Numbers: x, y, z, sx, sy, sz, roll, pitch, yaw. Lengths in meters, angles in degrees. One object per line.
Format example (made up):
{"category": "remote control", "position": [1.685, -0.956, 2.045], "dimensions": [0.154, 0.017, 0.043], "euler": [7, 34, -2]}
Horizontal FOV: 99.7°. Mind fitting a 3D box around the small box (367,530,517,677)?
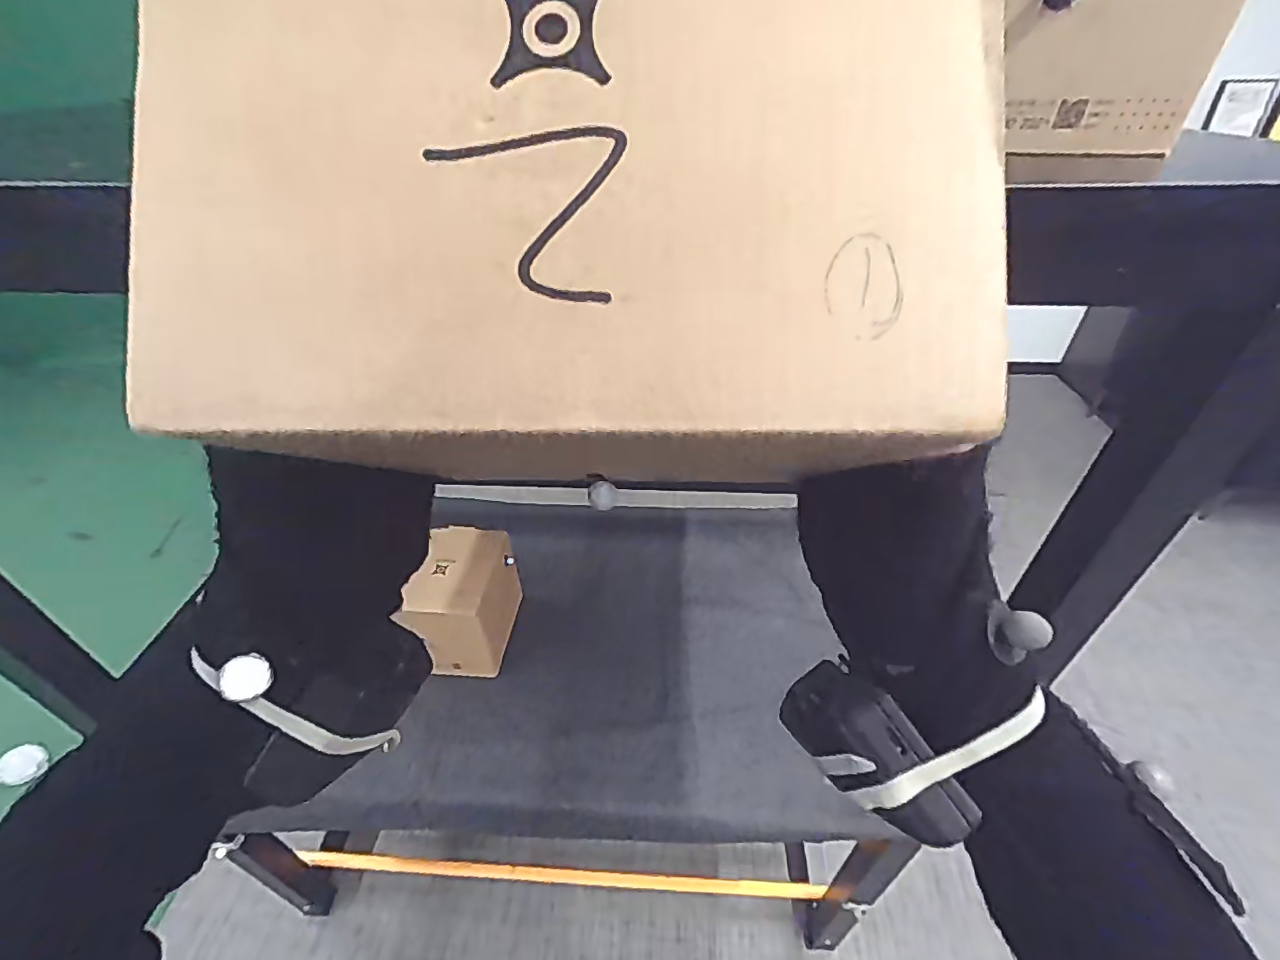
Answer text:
{"category": "small box", "position": [-0.309, 0.204, 0.893], "dimensions": [0.168, 0.176, 0.179], "euler": [2, 38, 3]}
